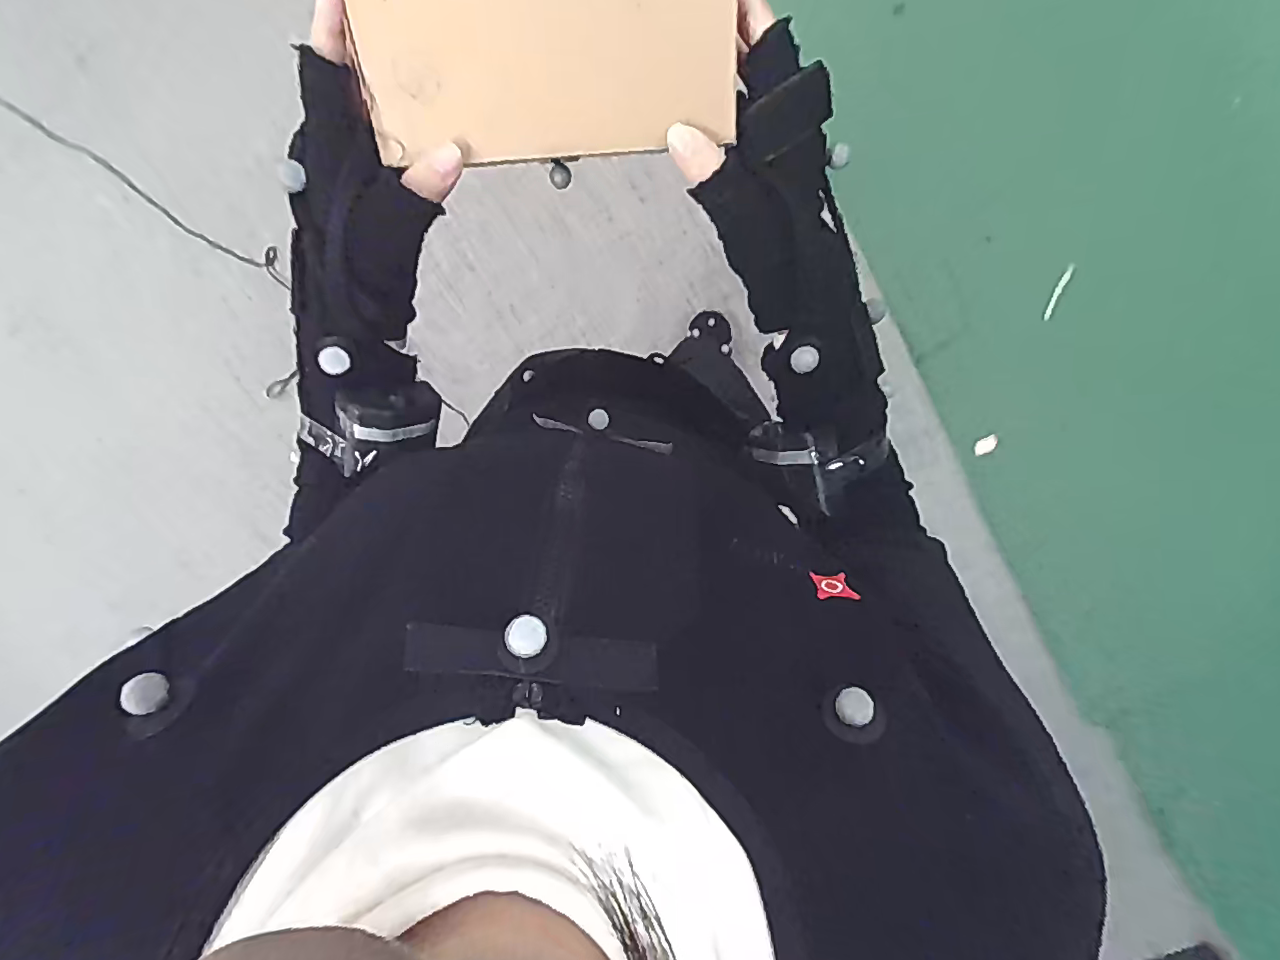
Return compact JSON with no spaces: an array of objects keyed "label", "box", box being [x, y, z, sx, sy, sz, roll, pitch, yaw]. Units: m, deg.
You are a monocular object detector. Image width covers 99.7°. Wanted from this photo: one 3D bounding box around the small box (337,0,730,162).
[{"label":"small box","box":[-0.048,-0.274,0.293,0.179,0.176,0.168,-4,121,3]}]
